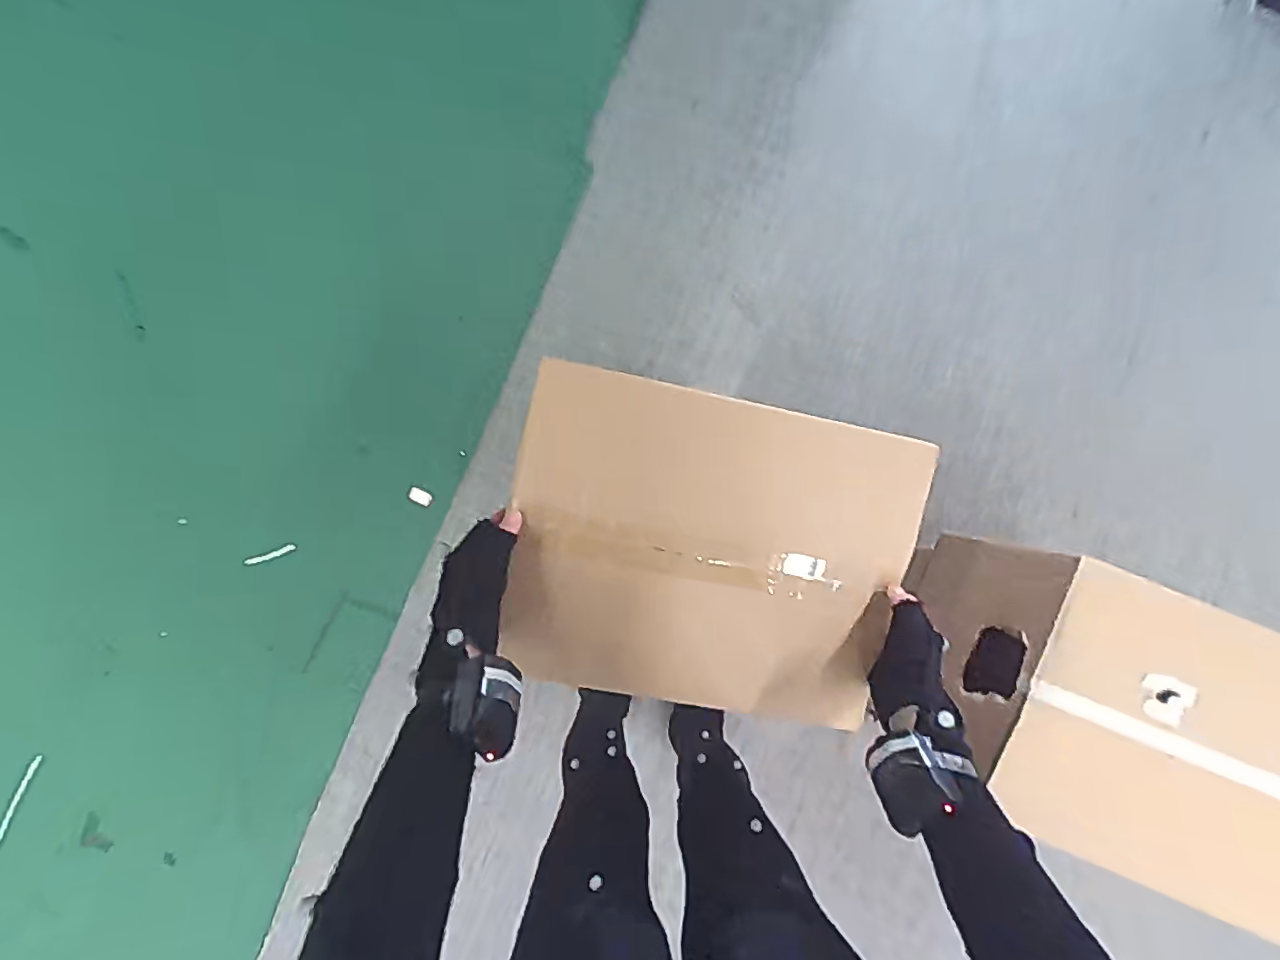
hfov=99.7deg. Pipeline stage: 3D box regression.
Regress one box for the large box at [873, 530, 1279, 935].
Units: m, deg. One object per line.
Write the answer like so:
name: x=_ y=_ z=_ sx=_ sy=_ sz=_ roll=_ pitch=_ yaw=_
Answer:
large box: x=0.614 y=0.292 z=0.741 sx=0.408 sy=0.320 sz=0.320 roll=22 pitch=91 yaw=5
